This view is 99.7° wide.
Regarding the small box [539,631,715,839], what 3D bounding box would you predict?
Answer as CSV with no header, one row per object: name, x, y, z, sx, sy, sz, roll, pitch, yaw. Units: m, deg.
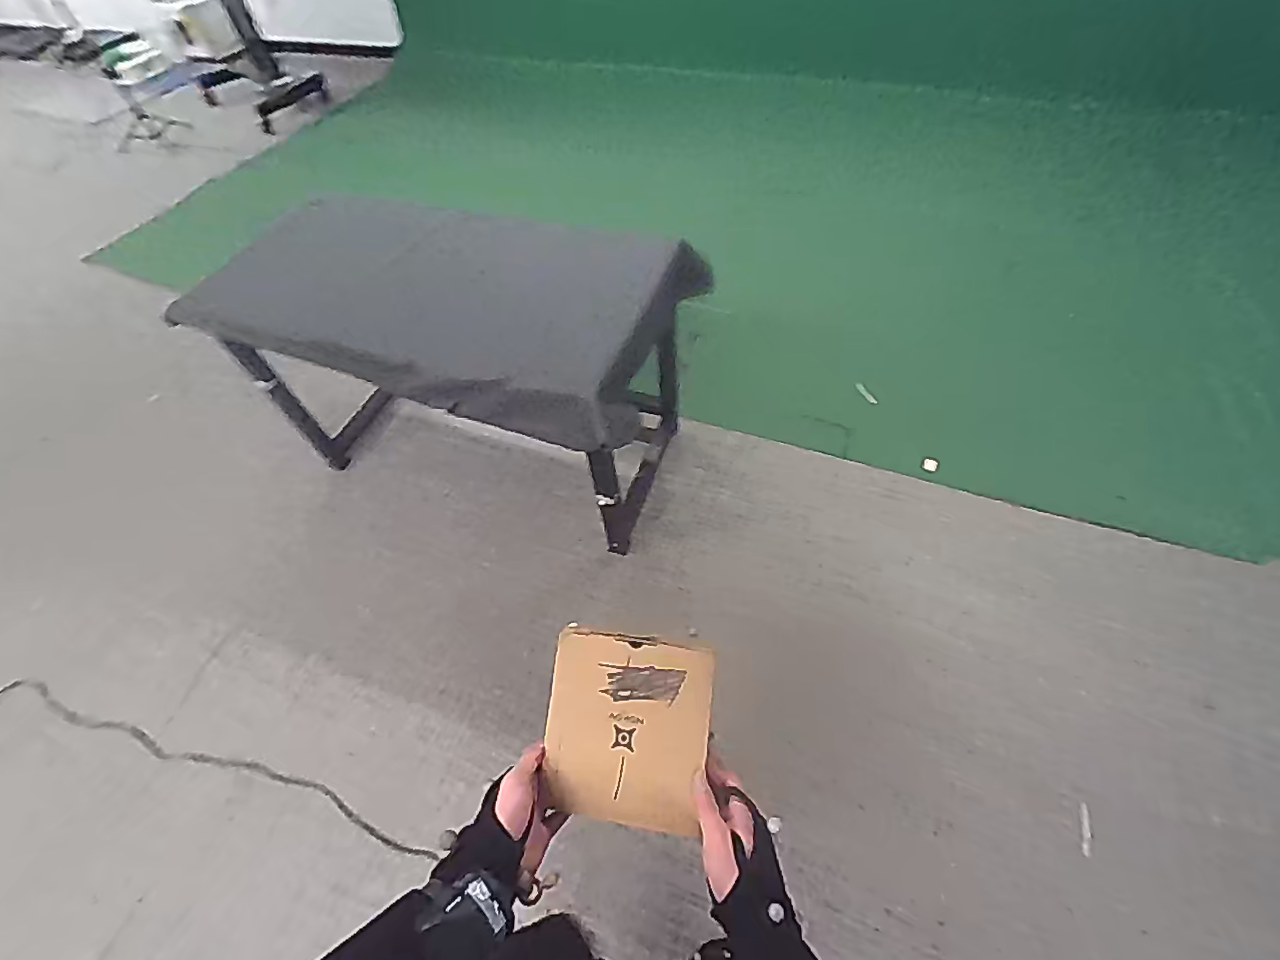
small box,-0.003,0.275,0.629,0.168,0.176,0.179,4,78,10
